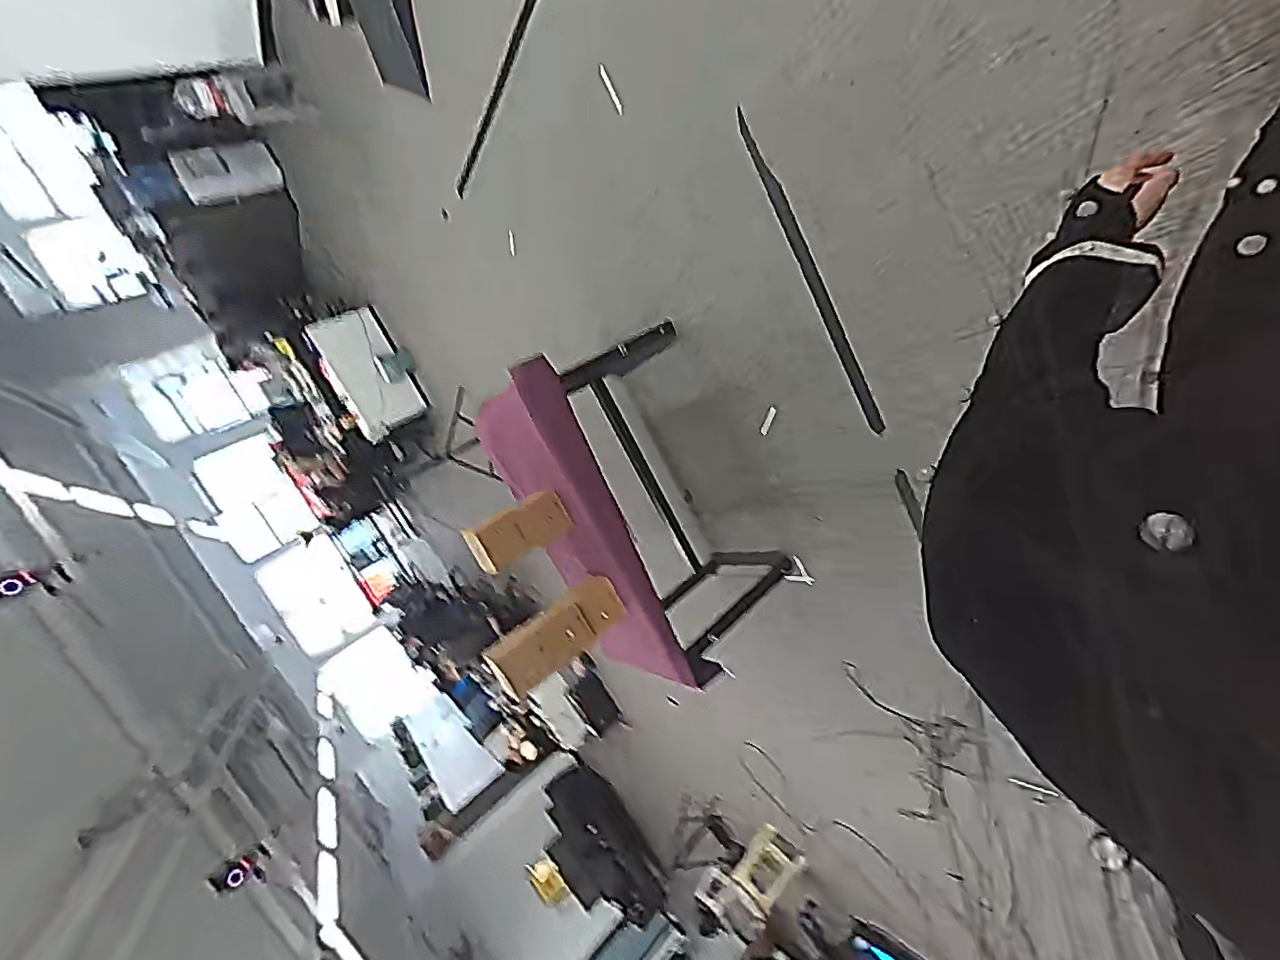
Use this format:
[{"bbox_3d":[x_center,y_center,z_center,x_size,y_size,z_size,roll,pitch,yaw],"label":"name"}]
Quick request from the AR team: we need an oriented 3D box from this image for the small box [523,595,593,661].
[{"bbox_3d":[-0.293,0.531,1.960,0.168,0.176,0.179,59,150,-5],"label":"small box"}]

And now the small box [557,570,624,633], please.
[{"bbox_3d":[-0.183,0.458,2.060,0.179,0.176,0.168,-13,107,59],"label":"small box"}]

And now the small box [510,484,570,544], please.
[{"bbox_3d":[-0.385,0.126,2.028,0.179,0.176,0.168,-12,108,59],"label":"small box"}]

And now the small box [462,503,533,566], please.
[{"bbox_3d":[-0.510,0.194,1.950,0.179,0.176,0.168,-9,110,59],"label":"small box"}]
